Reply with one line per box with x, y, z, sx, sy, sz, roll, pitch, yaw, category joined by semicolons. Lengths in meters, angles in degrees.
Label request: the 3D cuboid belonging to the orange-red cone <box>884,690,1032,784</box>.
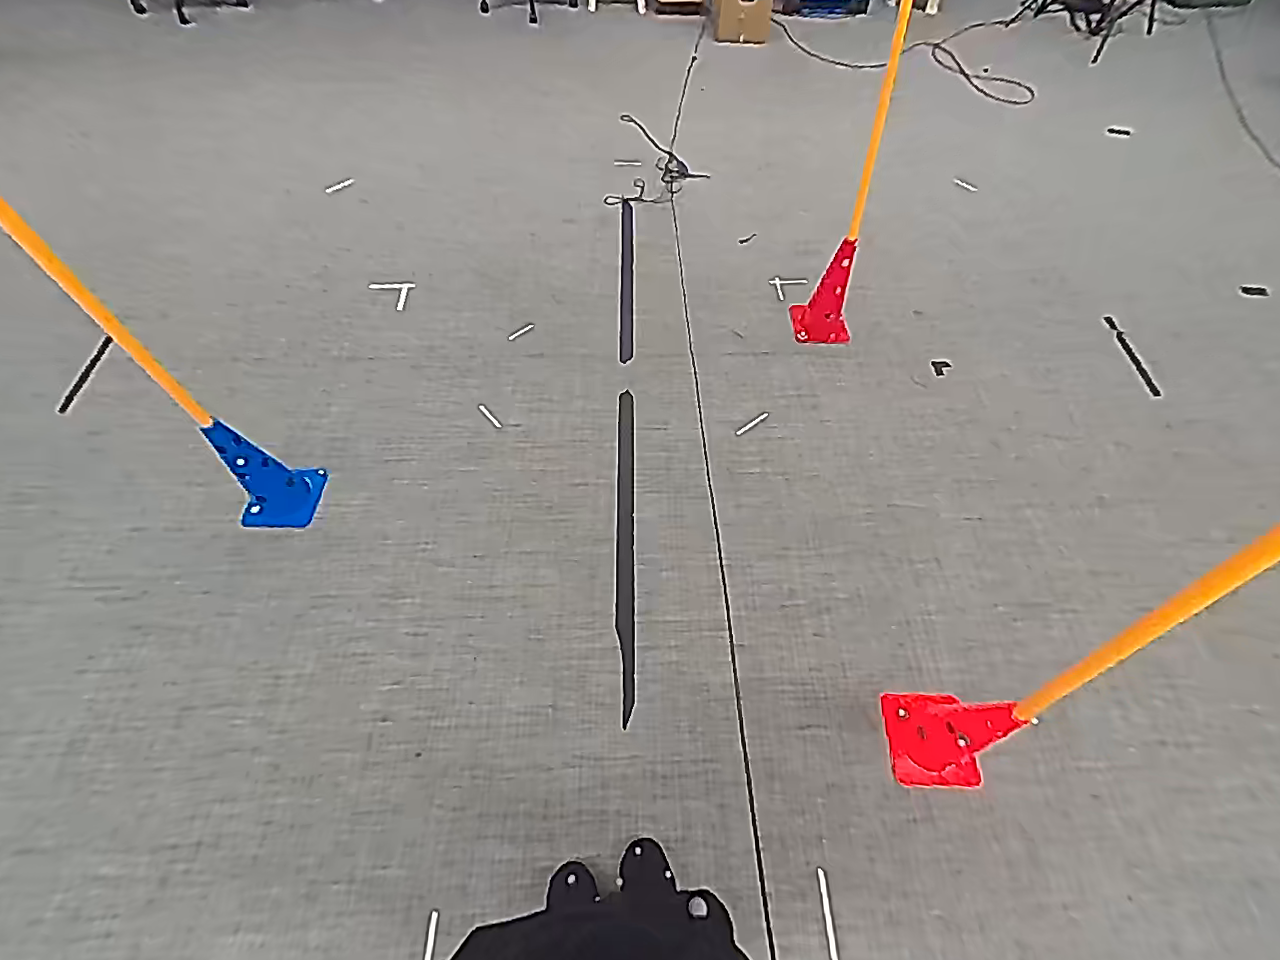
0.685;0.508;1.119;0.198;0.360;0.199;2;58;1;orange-red cone

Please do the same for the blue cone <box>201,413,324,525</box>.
-1.046;-0.040;1.458;0.193;0.380;0.192;2;57;0;blue cone
